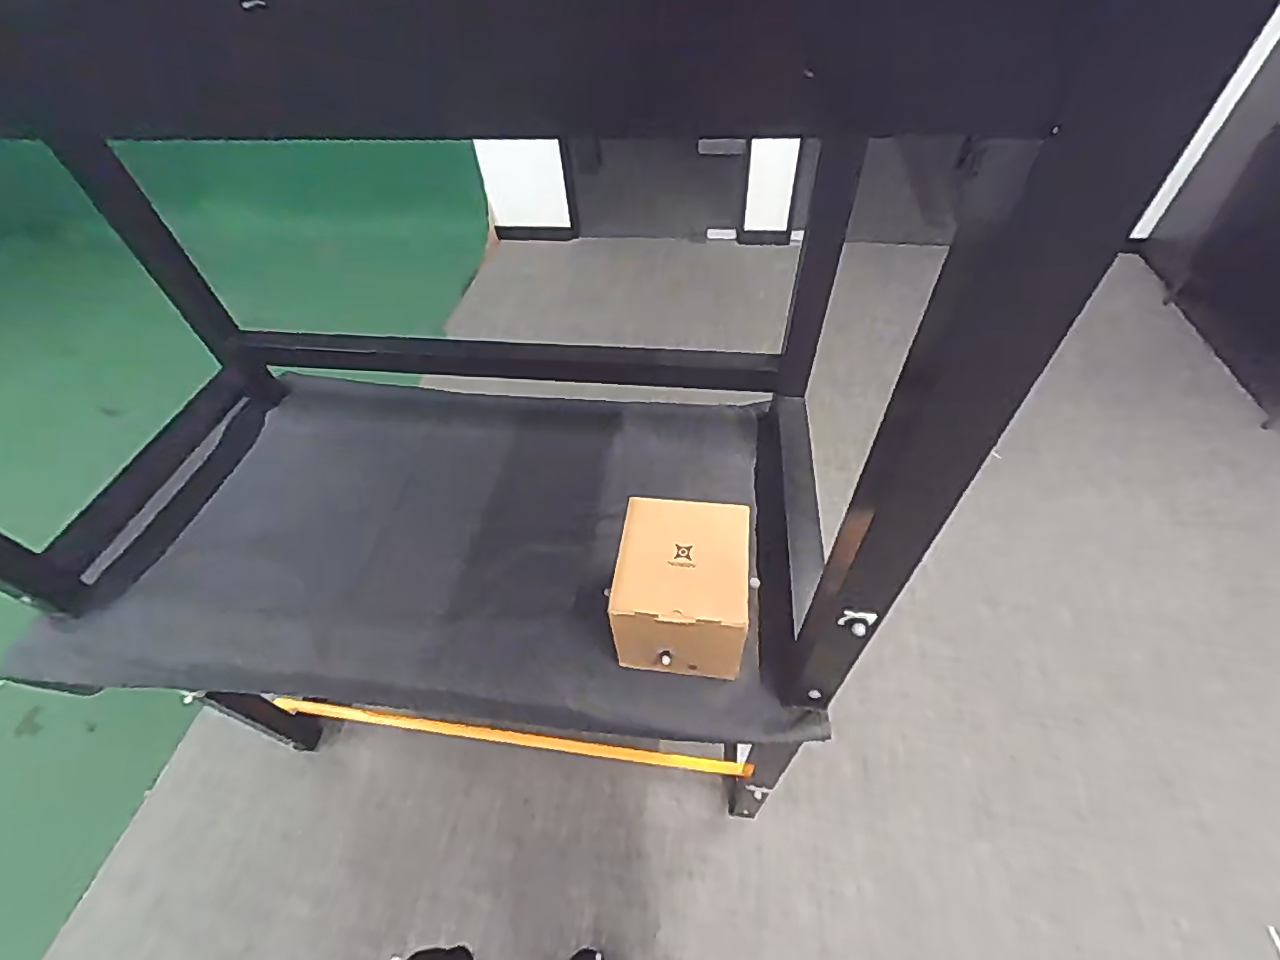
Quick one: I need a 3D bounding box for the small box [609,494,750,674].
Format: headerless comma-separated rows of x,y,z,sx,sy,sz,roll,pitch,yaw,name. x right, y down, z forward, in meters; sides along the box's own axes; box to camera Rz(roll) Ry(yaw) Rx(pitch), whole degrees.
0.058,0.143,0.742,0.168,0.176,0.179,4,50,8,small box
